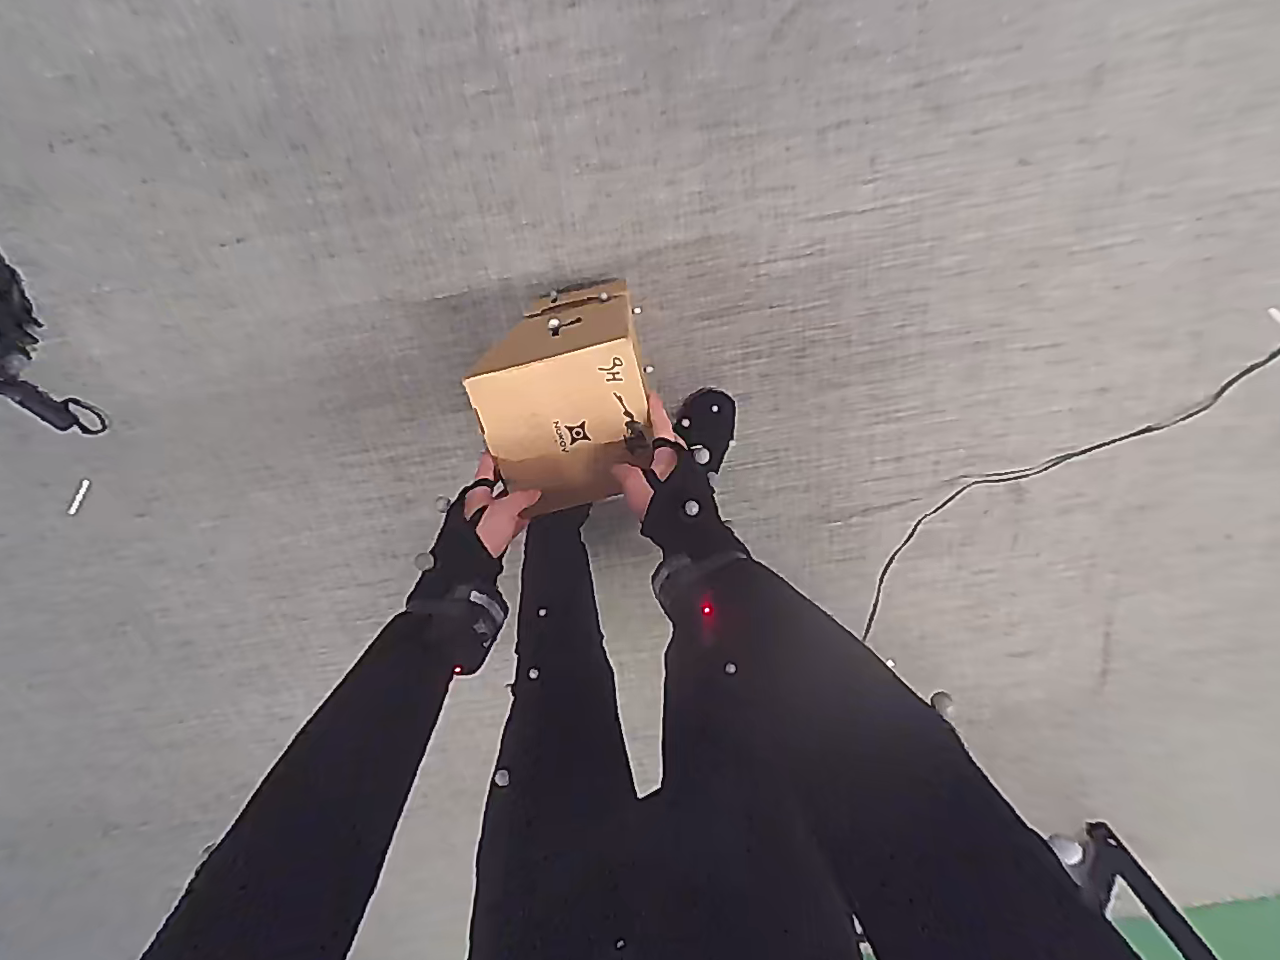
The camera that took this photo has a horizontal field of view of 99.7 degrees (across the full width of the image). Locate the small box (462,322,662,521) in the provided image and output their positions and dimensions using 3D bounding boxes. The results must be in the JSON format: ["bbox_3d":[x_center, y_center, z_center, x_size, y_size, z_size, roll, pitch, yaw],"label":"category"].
[{"bbox_3d":[-0.080,-0.077,0.644,0.179,0.176,0.168,-15,115,5],"label":"small box"}]

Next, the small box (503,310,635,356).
[{"bbox_3d":[-0.083,-0.141,0.795,0.168,0.176,0.179,-15,116,4],"label":"small box"}]

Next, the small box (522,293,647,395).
[{"bbox_3d":[-0.090,-0.217,0.941,0.168,0.176,0.179,-14,116,5],"label":"small box"}]
